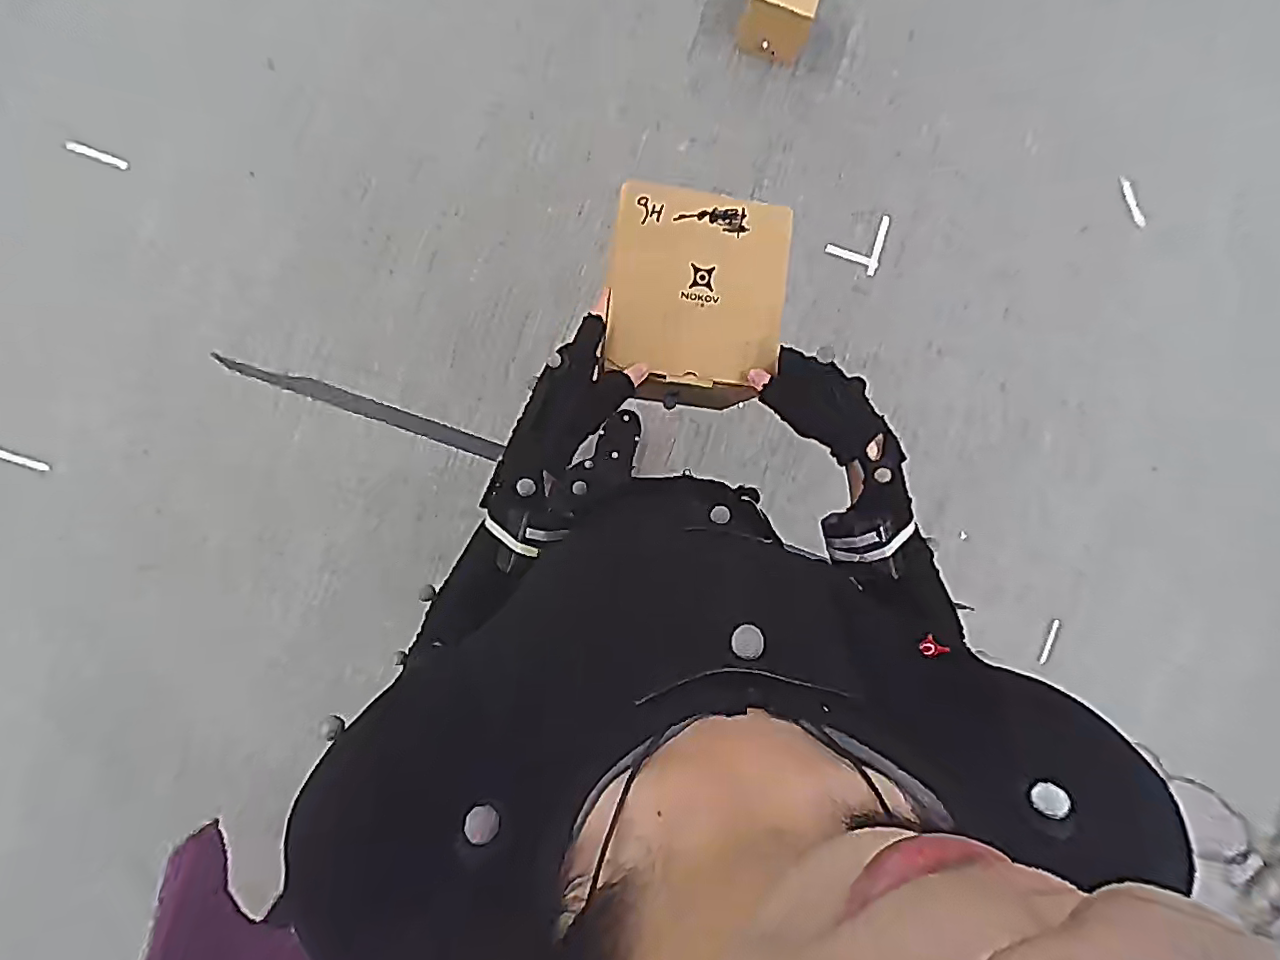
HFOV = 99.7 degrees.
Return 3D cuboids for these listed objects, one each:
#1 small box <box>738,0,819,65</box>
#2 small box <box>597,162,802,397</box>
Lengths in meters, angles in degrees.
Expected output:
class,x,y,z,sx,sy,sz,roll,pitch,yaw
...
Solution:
class,x,y,z,sx,sy,sz,roll,pitch,yaw
small box,0.370,-1.249,1.411,0.168,0.176,0.179,16,92,-5
small box,0.047,-0.187,0.563,0.168,0.176,0.179,6,92,-8
